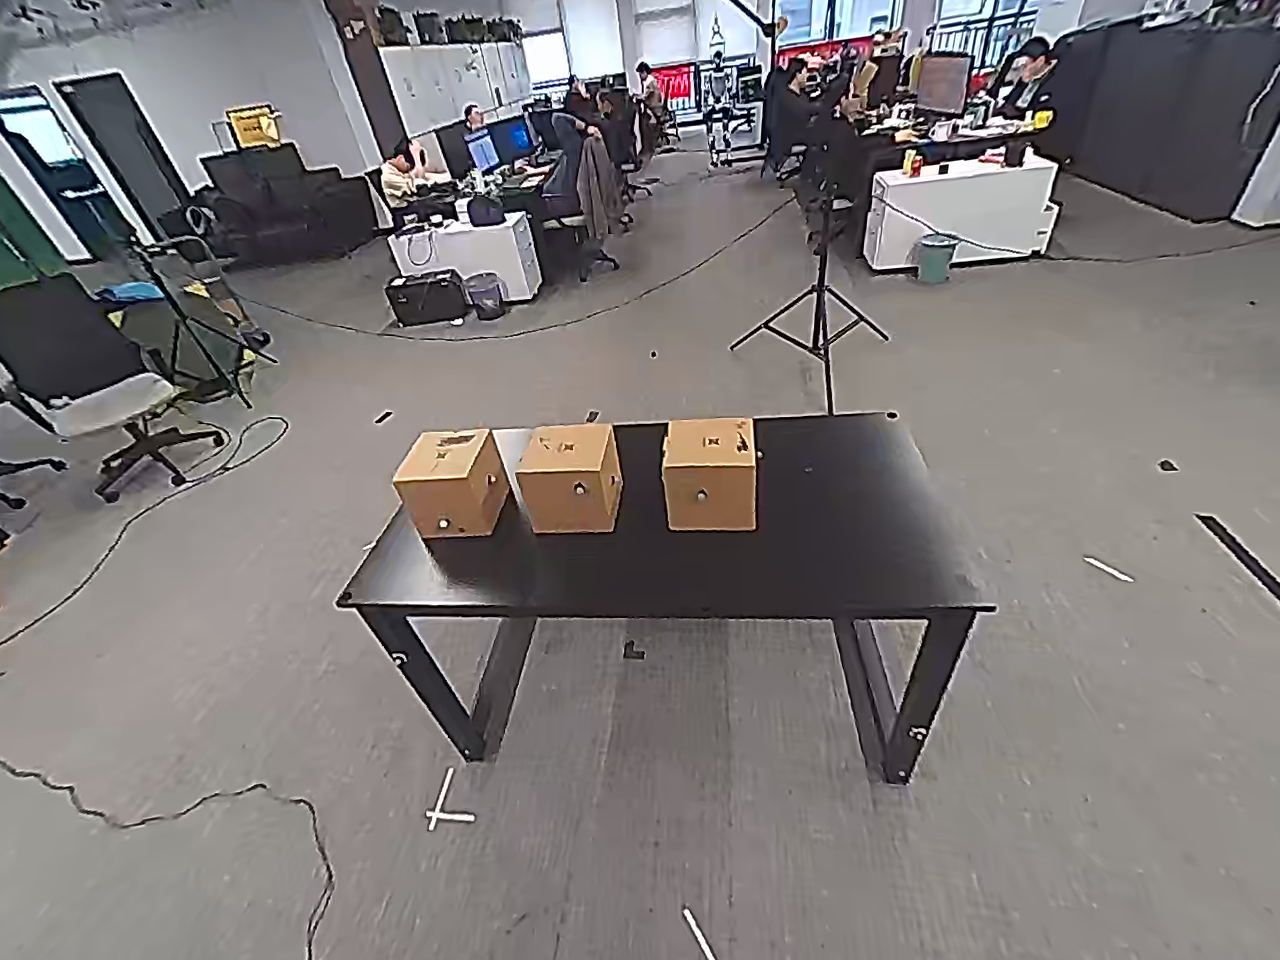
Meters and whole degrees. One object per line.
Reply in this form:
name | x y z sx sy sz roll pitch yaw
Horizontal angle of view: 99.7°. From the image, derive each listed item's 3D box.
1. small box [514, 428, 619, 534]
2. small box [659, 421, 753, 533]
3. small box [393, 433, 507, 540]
small box | -0.147 0.005 1.164 0.179 0.176 0.168 -2 38 8
small box | 0.143 -0.004 1.119 0.179 0.176 0.168 -2 39 11
small box | -0.410 0.015 1.205 0.168 0.176 0.179 -3 40 8
